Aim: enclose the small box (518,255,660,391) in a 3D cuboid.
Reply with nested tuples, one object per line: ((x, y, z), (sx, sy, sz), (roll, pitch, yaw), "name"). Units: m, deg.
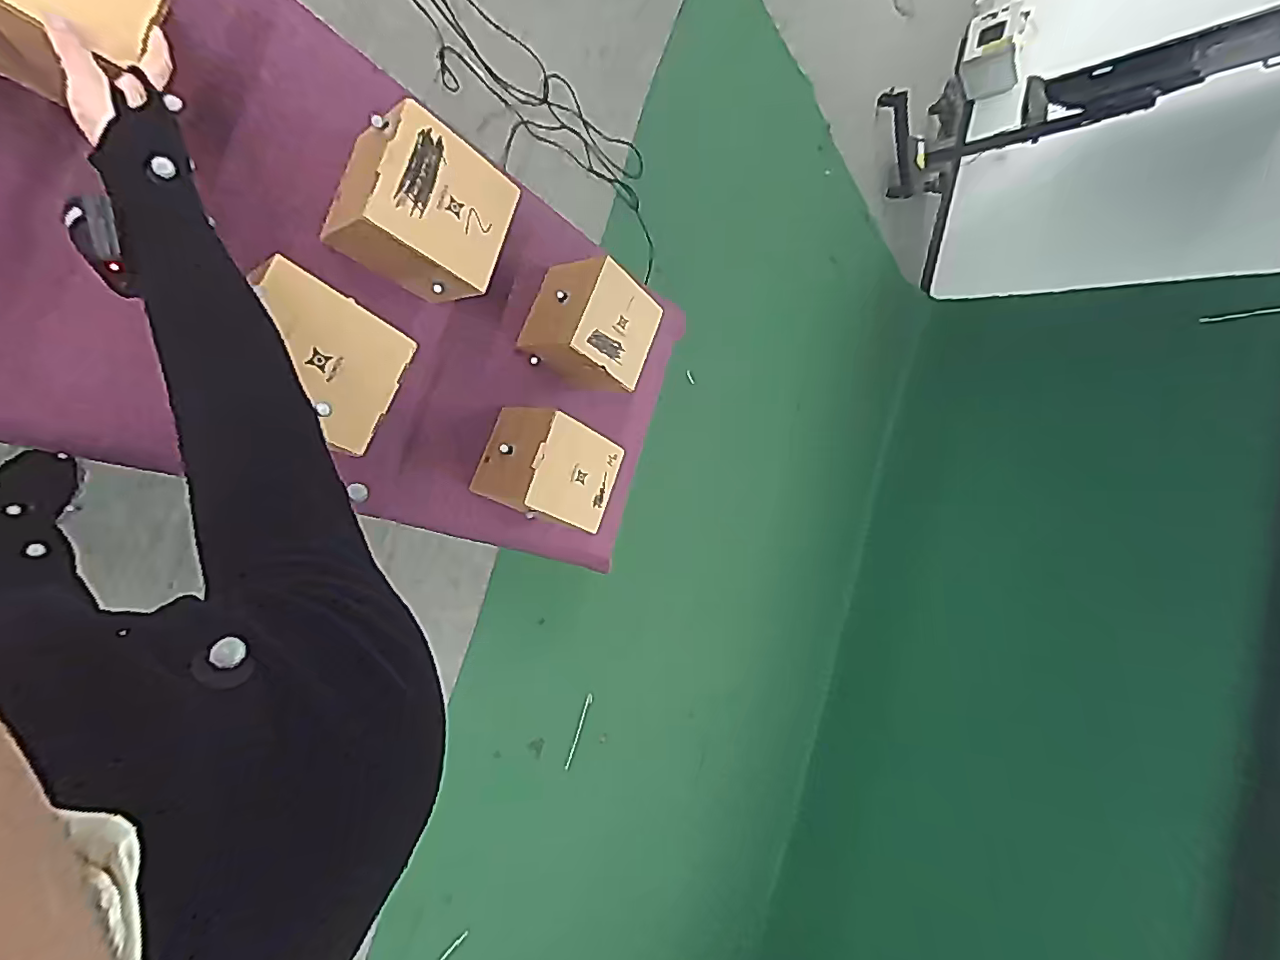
((-0.097, -0.279, 0.996), (0.168, 0.176, 0.179), (32, 74, -45), "small box")

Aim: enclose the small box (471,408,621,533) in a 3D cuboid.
((-0.170, -0.018, 0.969), (0.179, 0.176, 0.168), (30, 75, -44), "small box")

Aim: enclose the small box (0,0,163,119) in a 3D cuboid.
((-0.549, -0.467, 0.478), (0.179, 0.176, 0.168), (18, 83, -48), "small box")

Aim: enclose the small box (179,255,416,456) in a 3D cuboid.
((-0.426, -0.147, 0.675), (0.179, 0.176, 0.168), (34, 72, -44), "small box")
